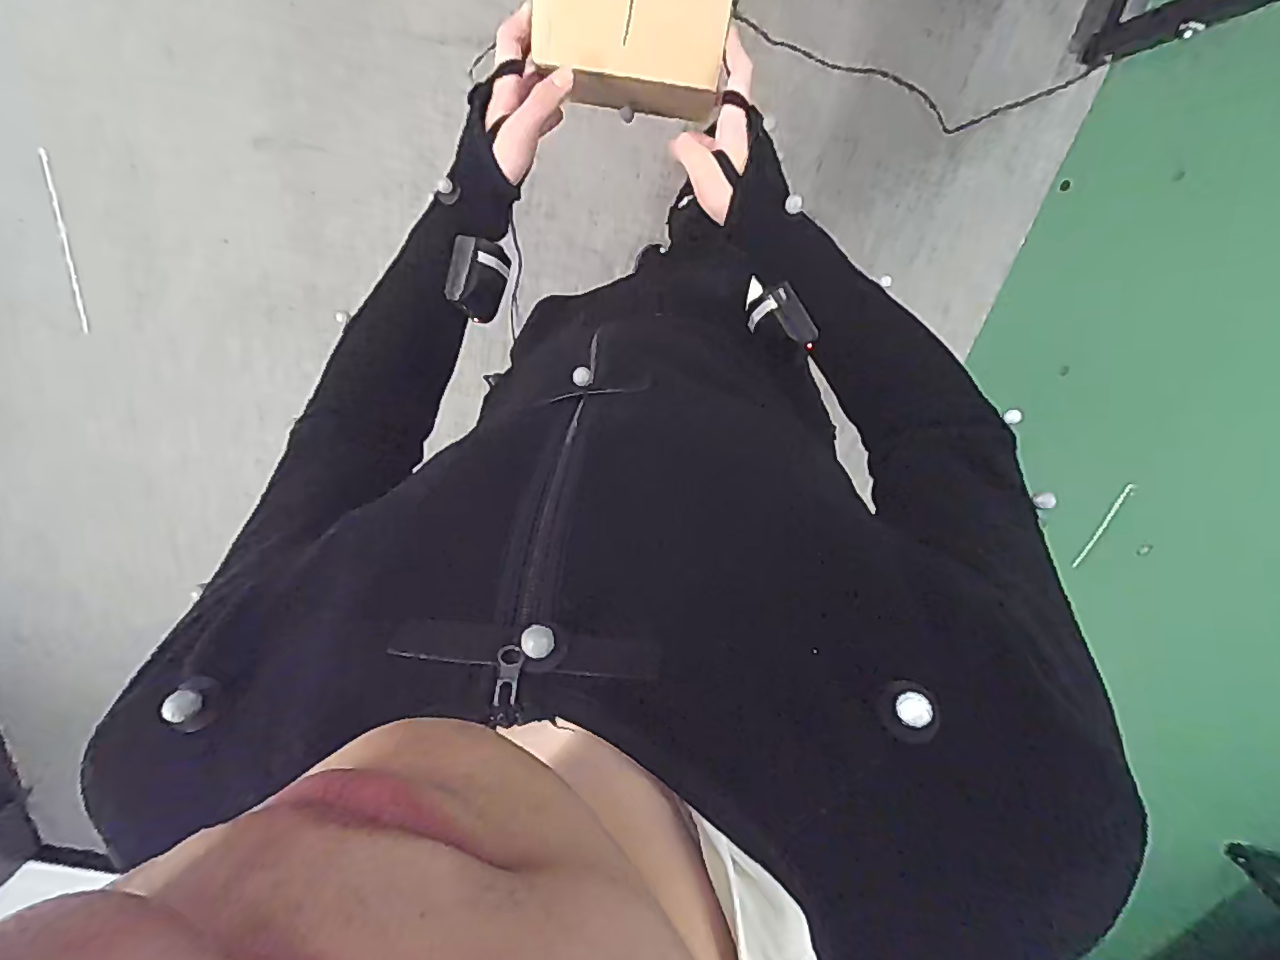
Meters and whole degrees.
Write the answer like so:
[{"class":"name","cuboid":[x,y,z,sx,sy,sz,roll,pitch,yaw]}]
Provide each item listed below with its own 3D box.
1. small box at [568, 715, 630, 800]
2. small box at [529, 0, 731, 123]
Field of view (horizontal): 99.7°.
[{"class":"small box","cuboid":[-0.134,0.936,1.830,0.168,0.176,0.179,14,115,-3]},{"class":"small box","cuboid":[0.002,-0.459,0.501,0.168,0.176,0.179,9,116,0]}]
